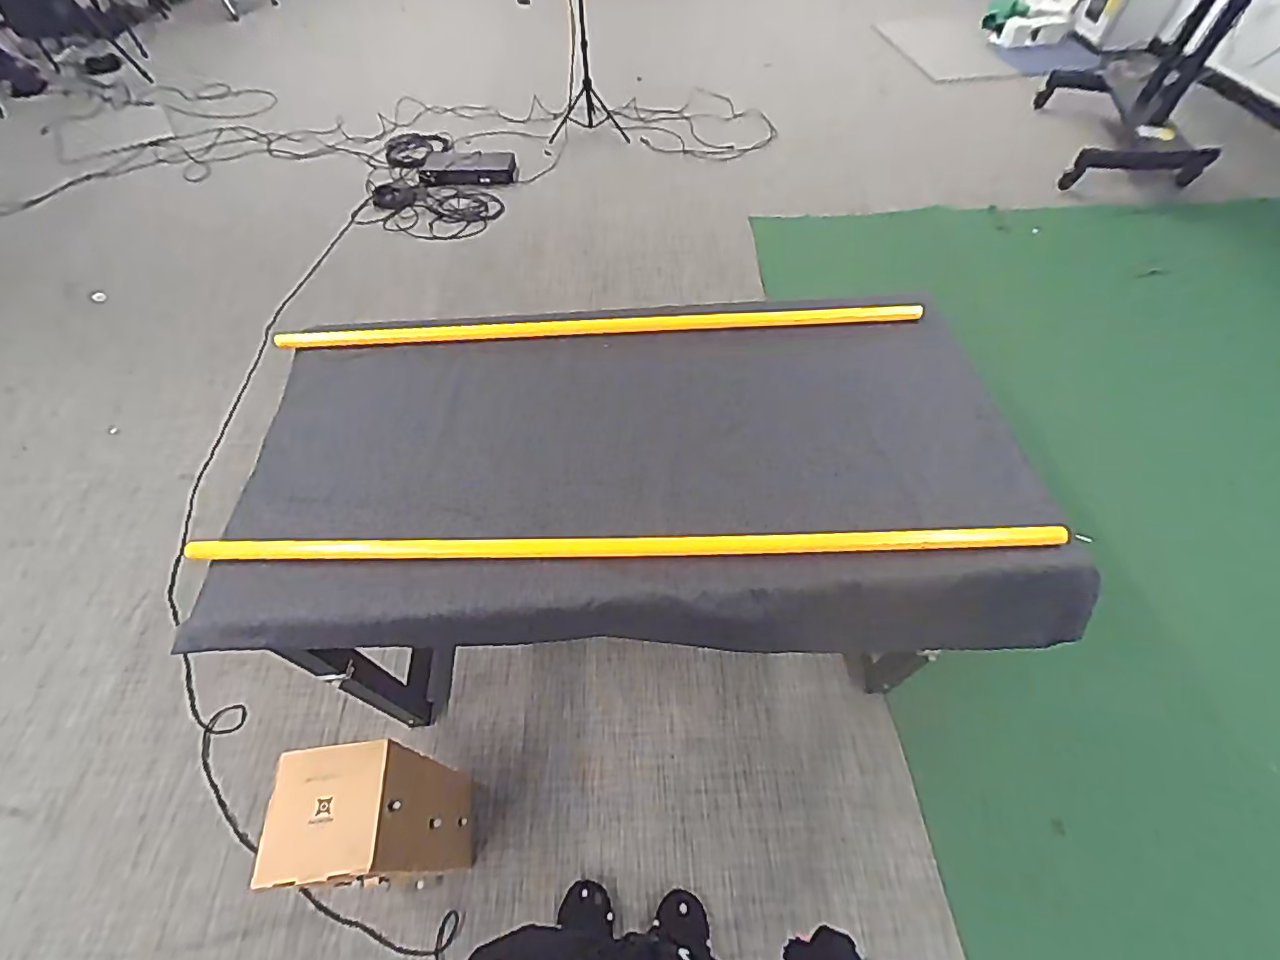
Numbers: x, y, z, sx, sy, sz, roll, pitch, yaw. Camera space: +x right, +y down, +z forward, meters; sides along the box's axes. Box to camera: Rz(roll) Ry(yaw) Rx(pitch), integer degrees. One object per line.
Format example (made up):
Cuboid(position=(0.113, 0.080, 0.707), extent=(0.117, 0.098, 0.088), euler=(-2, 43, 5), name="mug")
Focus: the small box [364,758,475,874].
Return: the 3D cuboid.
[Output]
Cuboid(position=(-0.452, 0.707, 1.135), extent=(0.168, 0.176, 0.179), euler=(-9, 56, -5), name="small box")
